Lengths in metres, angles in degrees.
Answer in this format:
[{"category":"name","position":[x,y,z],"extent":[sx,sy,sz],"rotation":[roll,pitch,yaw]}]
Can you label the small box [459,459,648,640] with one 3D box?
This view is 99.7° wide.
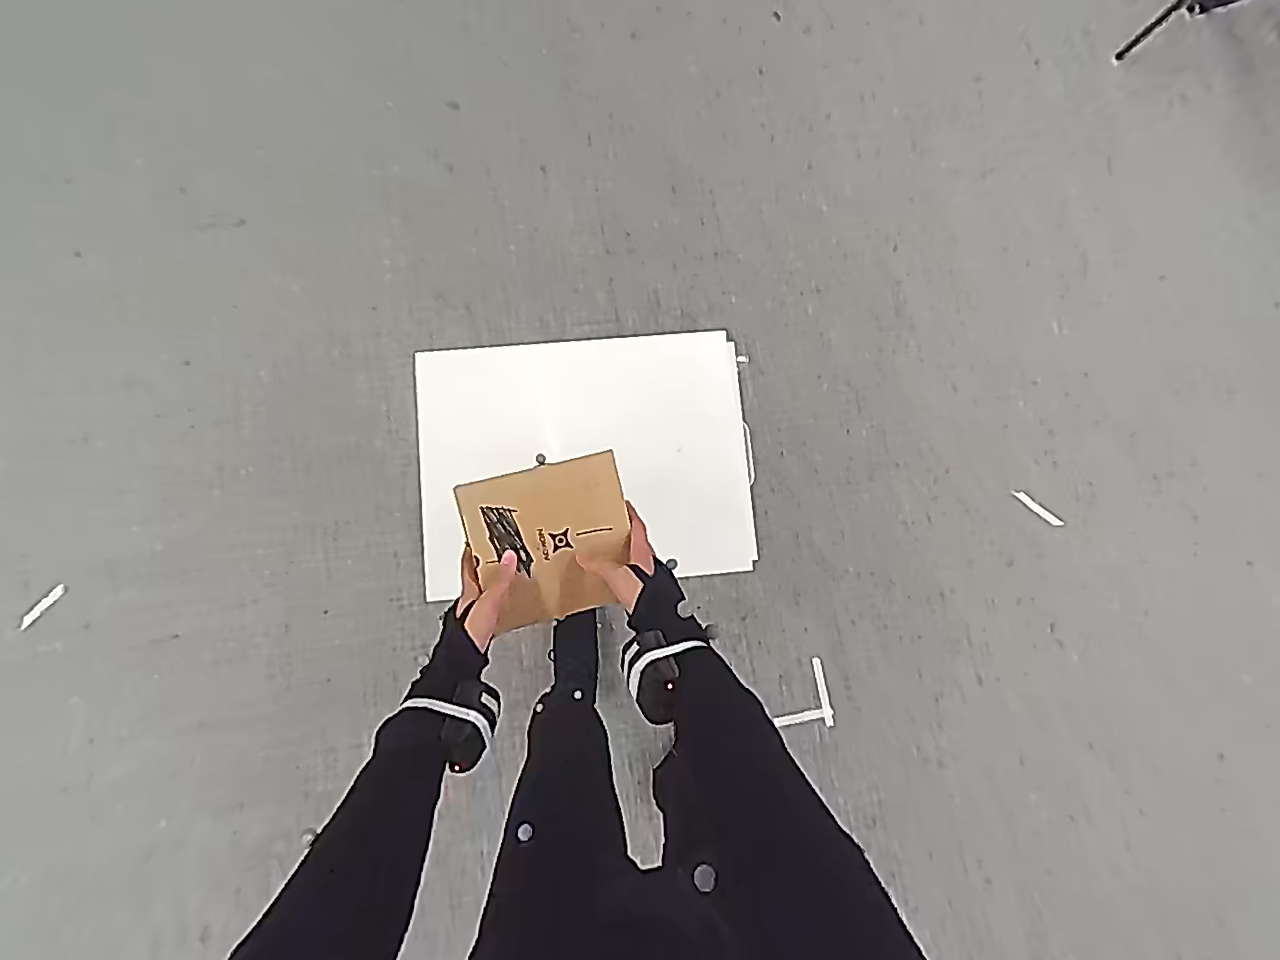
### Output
[{"category":"small box","position":[-0.104,0.074,0.663],"extent":[0.179,0.176,0.168],"rotation":[-14,93,-10]}]
